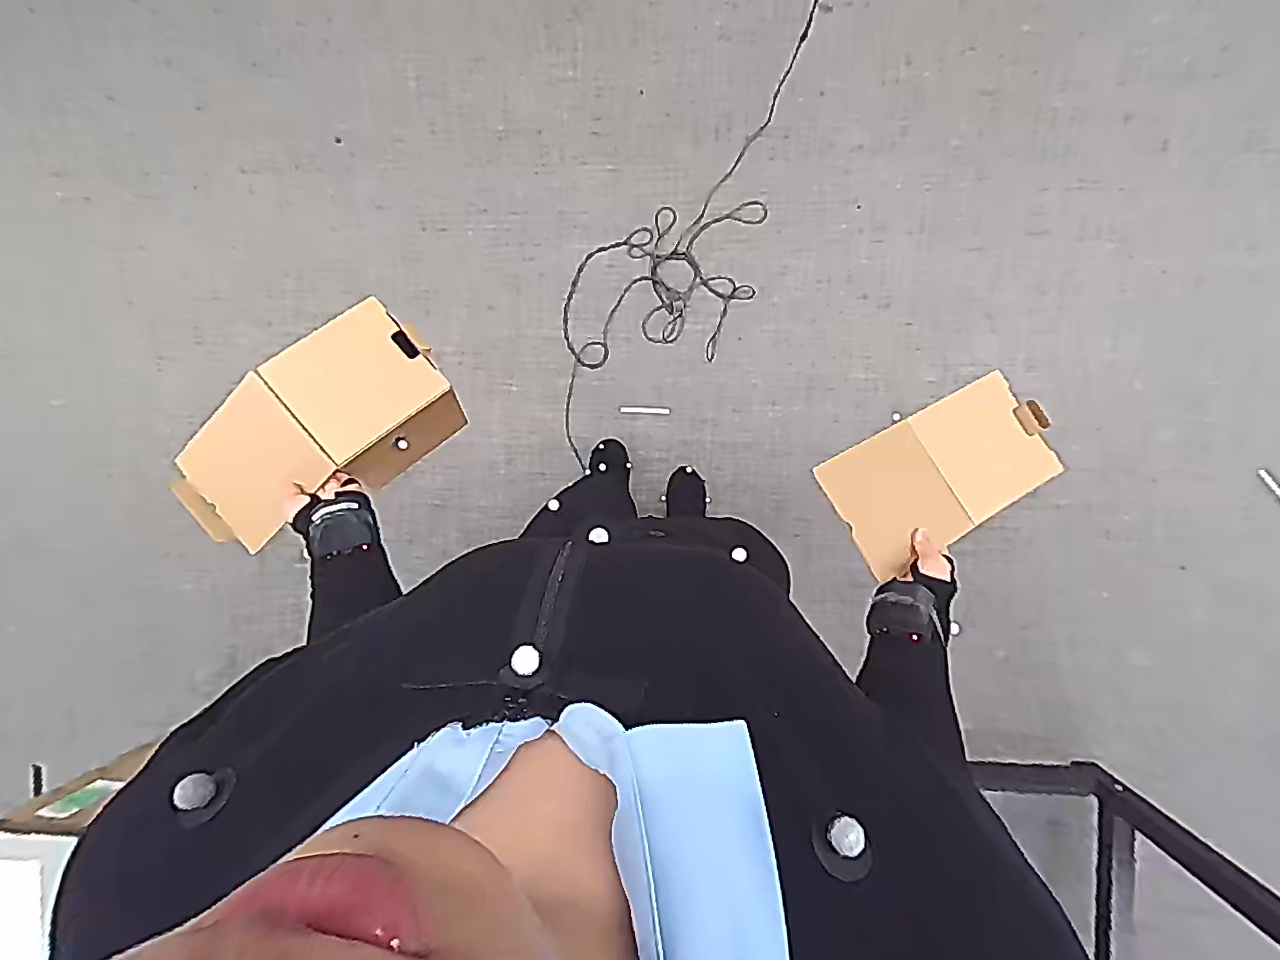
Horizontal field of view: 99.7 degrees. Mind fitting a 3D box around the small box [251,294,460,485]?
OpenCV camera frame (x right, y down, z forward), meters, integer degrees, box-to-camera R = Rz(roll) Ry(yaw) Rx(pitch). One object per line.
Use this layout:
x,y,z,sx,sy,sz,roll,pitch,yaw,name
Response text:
-0.377,-0.114,0.758,0.179,0.176,0.168,-40,89,-16,small box
